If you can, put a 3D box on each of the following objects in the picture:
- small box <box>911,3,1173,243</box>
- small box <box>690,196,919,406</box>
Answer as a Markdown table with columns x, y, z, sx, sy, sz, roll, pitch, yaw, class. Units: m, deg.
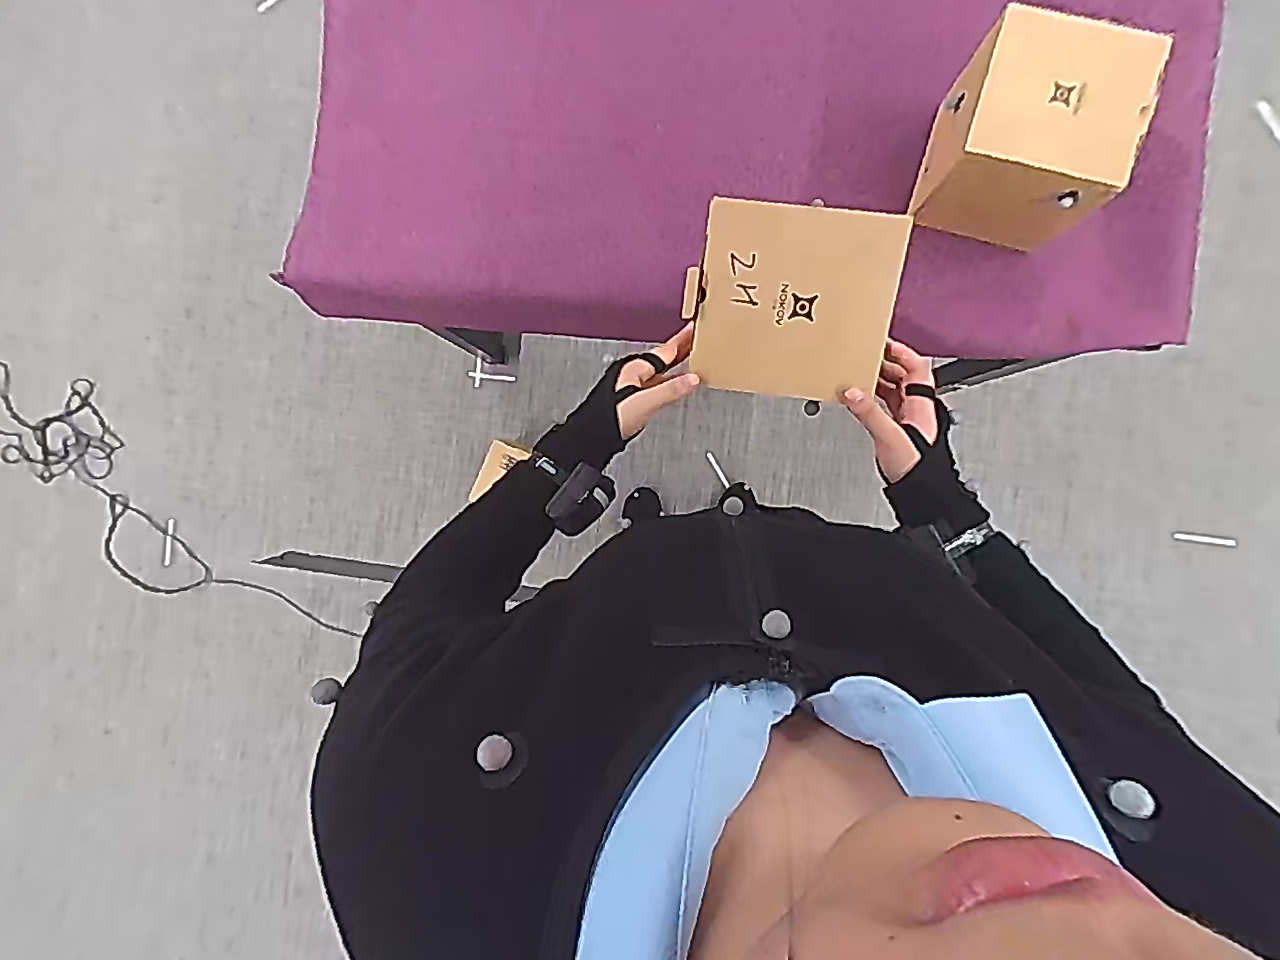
| x | y | z | sx | sy | sz | roll | pitch | yaw | class |
| --- | --- | --- | --- | --- | --- | --- | --- | --- | --- |
| 0.463 | -0.414 | 0.657 | 0.179 | 0.176 | 0.168 | 16 | 92 | 4 | small box |
| 0.152 | -0.177 | 0.560 | 0.179 | 0.176 | 0.168 | 8 | 104 | 6 | small box |
